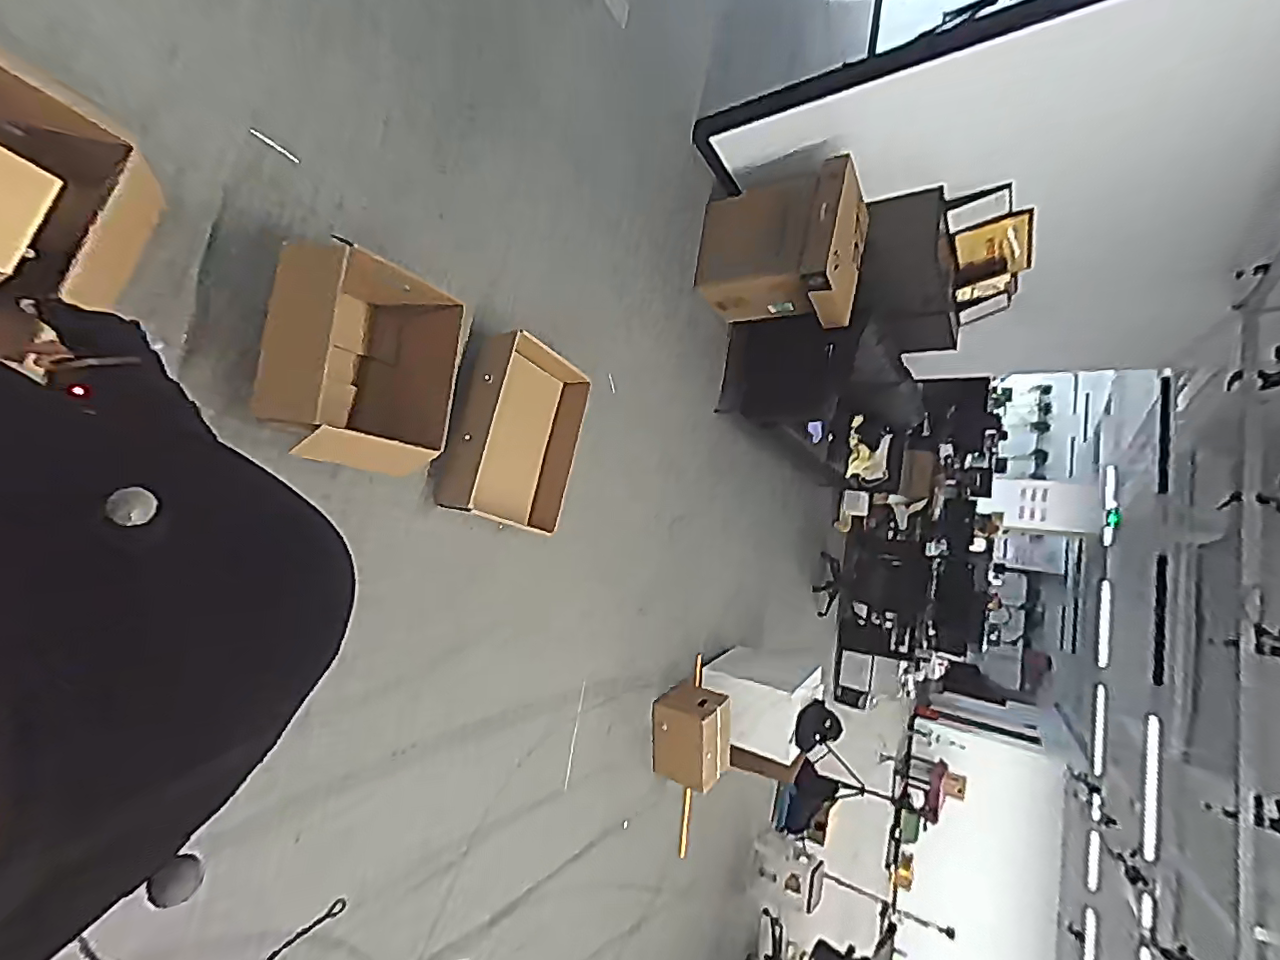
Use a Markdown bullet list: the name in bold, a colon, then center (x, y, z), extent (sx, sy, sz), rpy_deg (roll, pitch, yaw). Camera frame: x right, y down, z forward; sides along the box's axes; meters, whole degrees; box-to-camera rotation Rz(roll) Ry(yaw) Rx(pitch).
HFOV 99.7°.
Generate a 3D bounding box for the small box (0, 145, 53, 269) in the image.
- **small box**: center (-0.994, -0.406, 0.754), extent (0.179, 0.176, 0.168), rpy_deg (31, 67, -54)
